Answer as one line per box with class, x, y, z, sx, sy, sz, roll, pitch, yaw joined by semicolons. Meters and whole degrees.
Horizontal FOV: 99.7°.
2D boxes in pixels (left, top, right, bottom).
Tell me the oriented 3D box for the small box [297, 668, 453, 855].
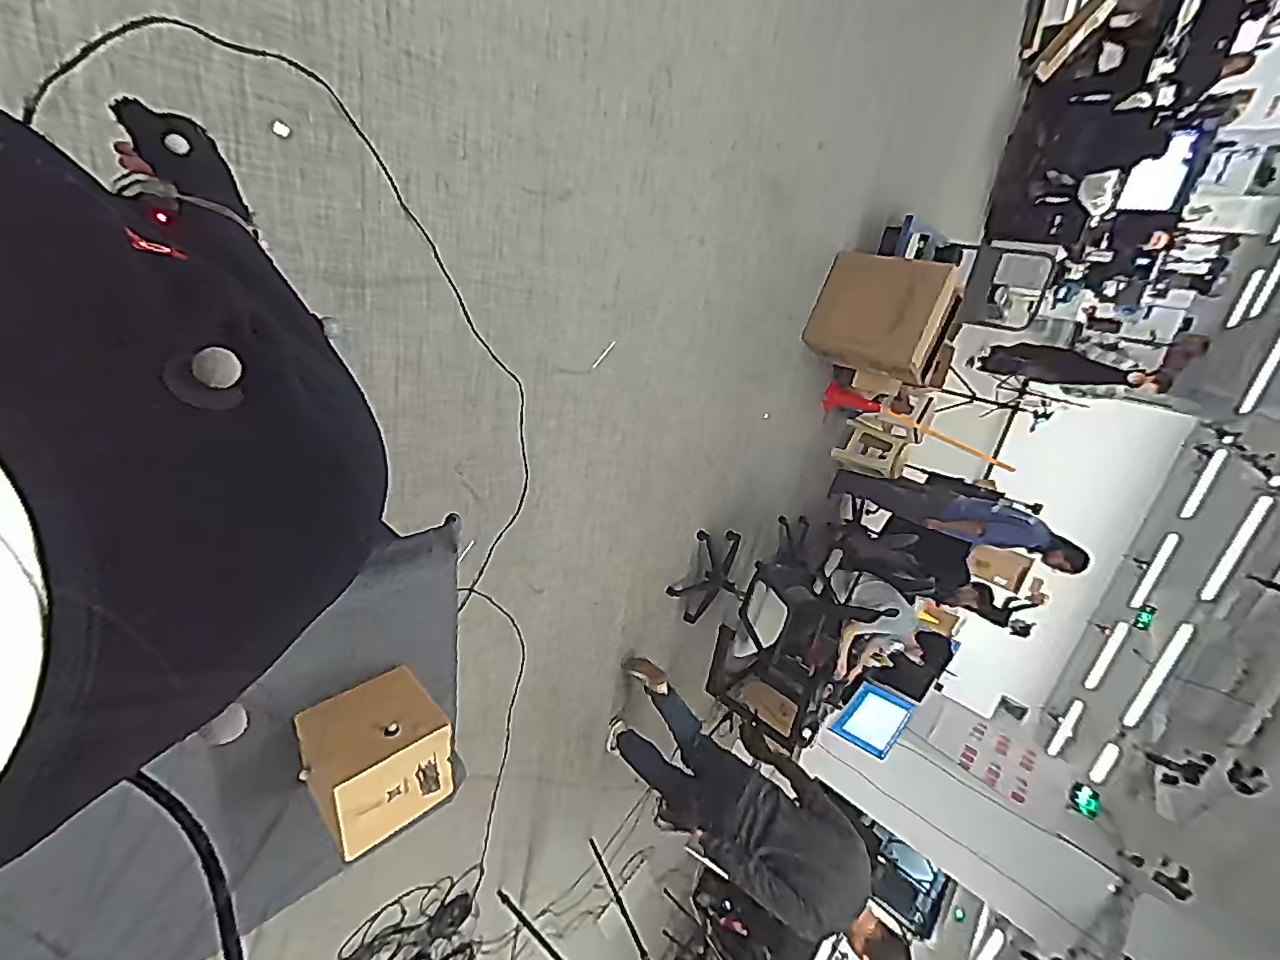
small box;-0.429;0.444;0.886;0.179;0.176;0.168;-17;123;-43
